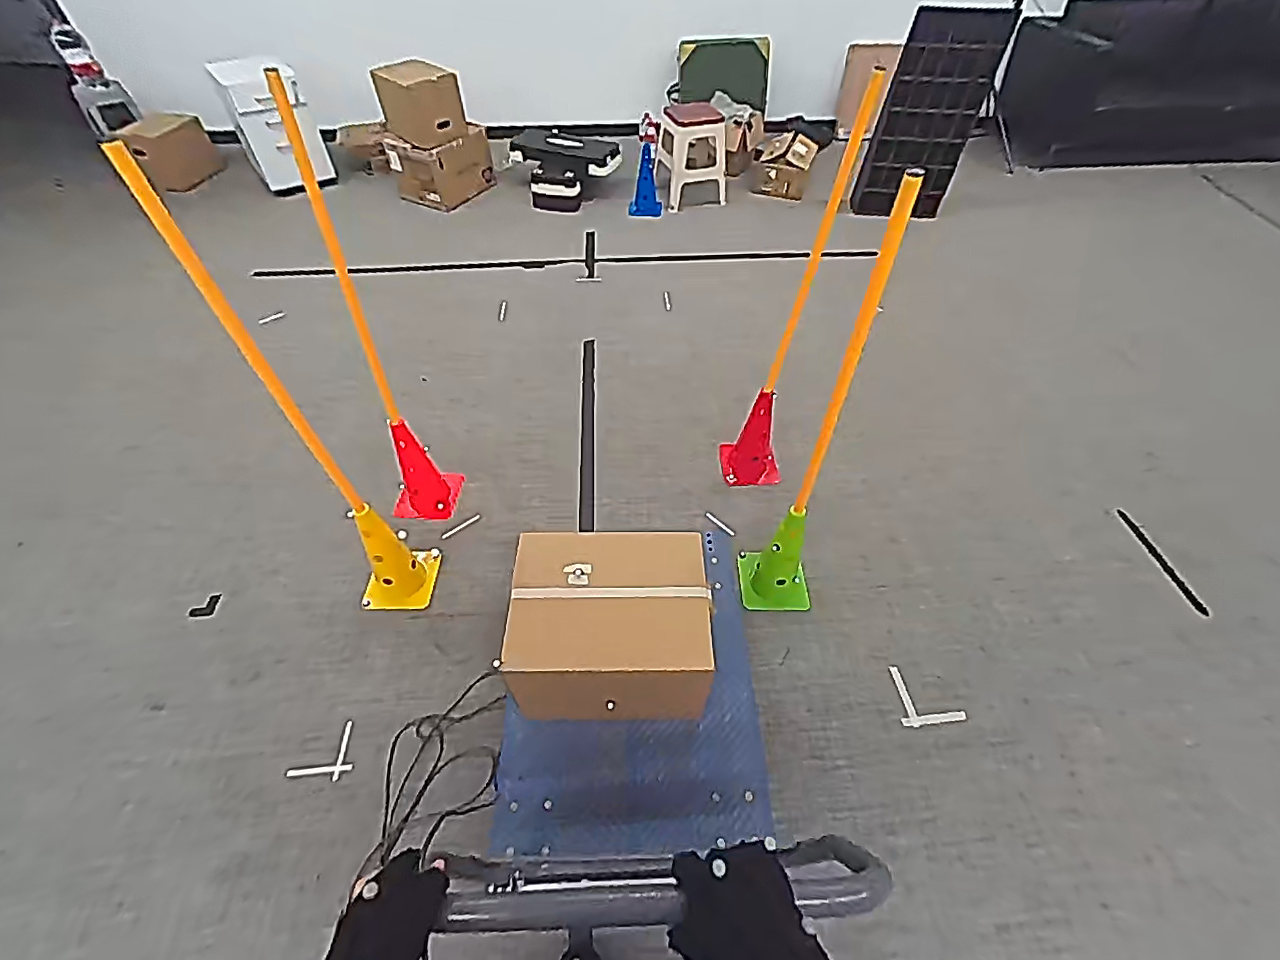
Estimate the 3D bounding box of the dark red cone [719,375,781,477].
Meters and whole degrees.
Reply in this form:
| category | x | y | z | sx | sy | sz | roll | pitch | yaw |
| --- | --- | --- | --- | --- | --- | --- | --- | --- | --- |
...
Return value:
| category | x | y | z | sx | sy | sz | roll | pitch | yaw |
| --- | --- | --- | --- | --- | --- | --- | --- | --- | --- |
| dark red cone | 0.404 | -0.189 | 1.841 | 0.201 | 0.394 | 0.202 | -1 | 50 | -4 |

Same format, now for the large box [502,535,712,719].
| category | x | y | z | sx | sy | sz | roll | pitch | yaw |
| --- | --- | --- | --- | --- | --- | --- | --- | --- | --- |
| large box | -0.061 | 0.339 | 1.225 | 0.408 | 0.320 | 0.320 | 0 | 50 | 0 |

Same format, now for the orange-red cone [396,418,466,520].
| category | x | y | z | sx | sy | sz | roll | pitch | yaw |
| --- | --- | --- | --- | --- | --- | --- | --- | --- | --- |
| orange-red cone | -0.719 | -0.061 | 1.752 | 0.198 | 0.360 | 0.199 | 4 | 48 | 2 |

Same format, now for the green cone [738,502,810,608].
| category | x | y | z | sx | sy | sz | roll | pitch | yaw |
| --- | --- | --- | --- | --- | --- | --- | --- | --- | --- |
| green cone | 0.413 | 0.192 | 1.540 | 0.202 | 0.368 | 0.200 | 1 | 50 | -1 |
